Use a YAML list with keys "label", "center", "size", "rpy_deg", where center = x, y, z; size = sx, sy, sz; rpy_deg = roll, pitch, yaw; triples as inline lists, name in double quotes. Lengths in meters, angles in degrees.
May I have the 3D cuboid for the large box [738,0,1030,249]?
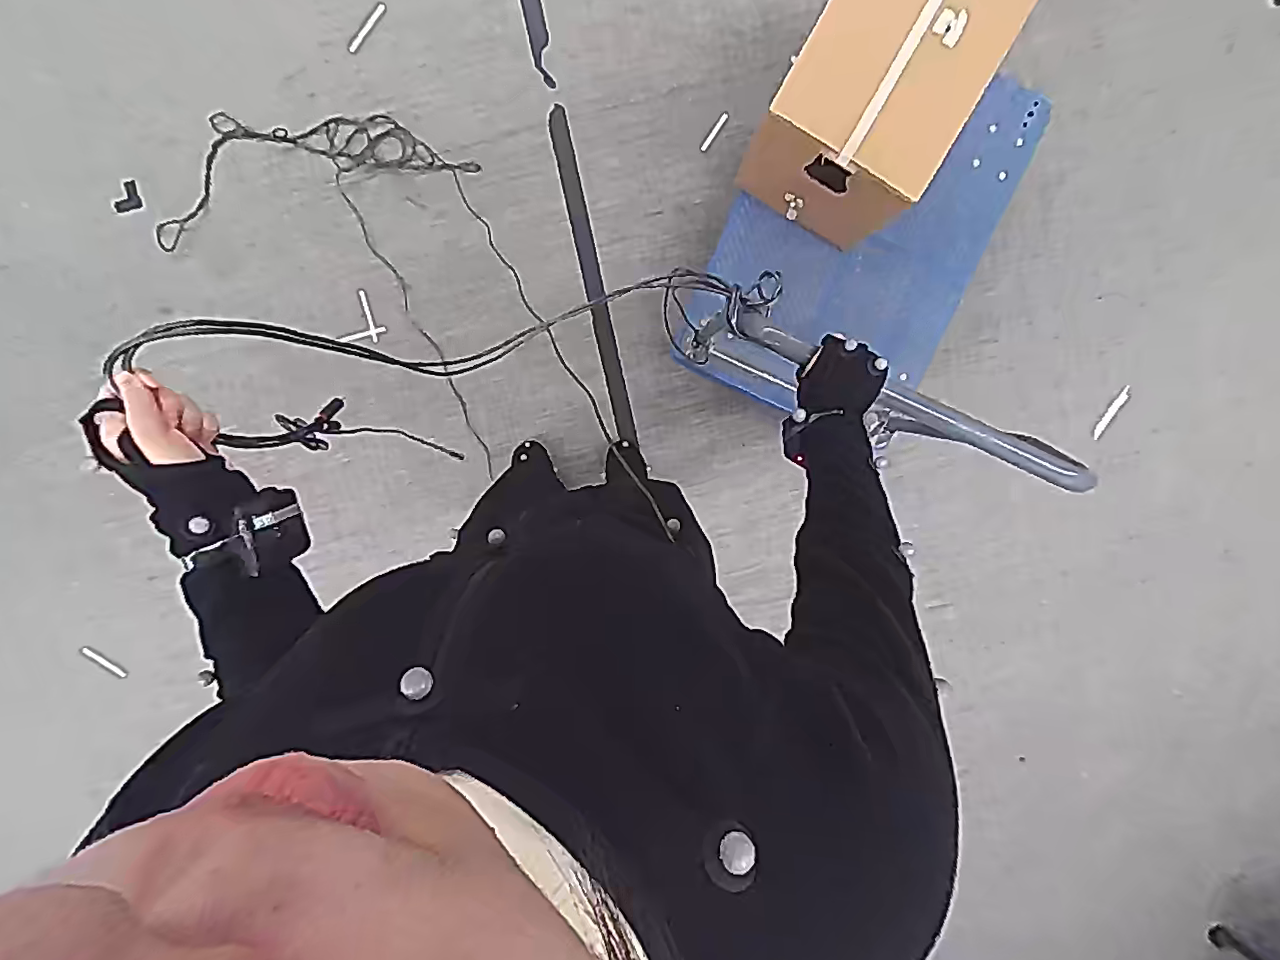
- label: "large box"
  center: [0.444, -0.753, 1.072]
  size: [0.320, 0.320, 0.408]
  rpy_deg: [29, 95, -5]
